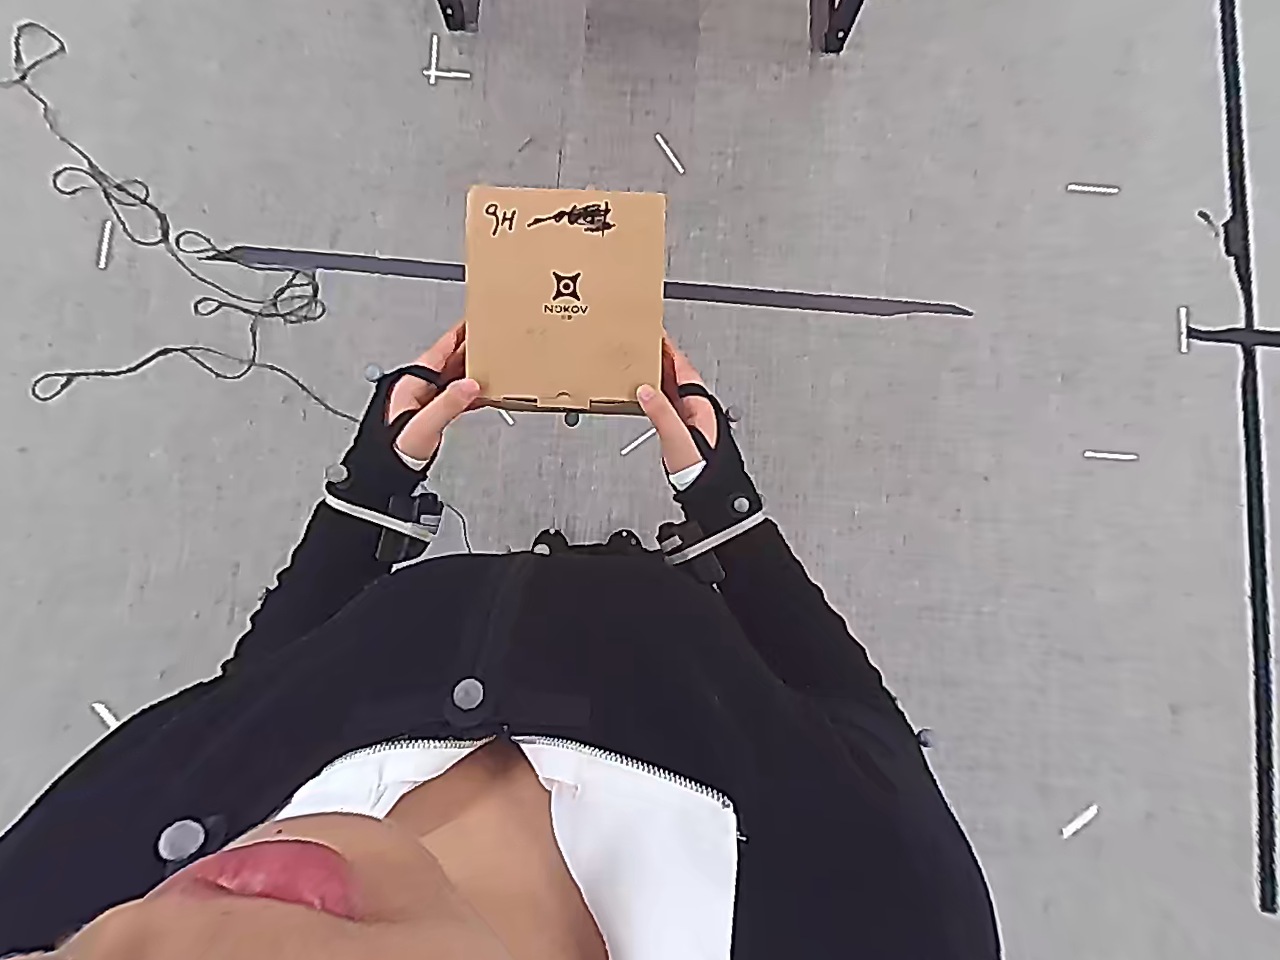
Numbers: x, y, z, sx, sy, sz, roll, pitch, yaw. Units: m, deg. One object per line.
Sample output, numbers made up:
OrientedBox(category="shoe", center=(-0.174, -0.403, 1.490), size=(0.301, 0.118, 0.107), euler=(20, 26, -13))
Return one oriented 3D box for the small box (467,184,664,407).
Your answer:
OrientedBox(category="small box", center=(-0.064, -0.163, 0.535), size=(0.168, 0.176, 0.179), euler=(1, 95, -1))
